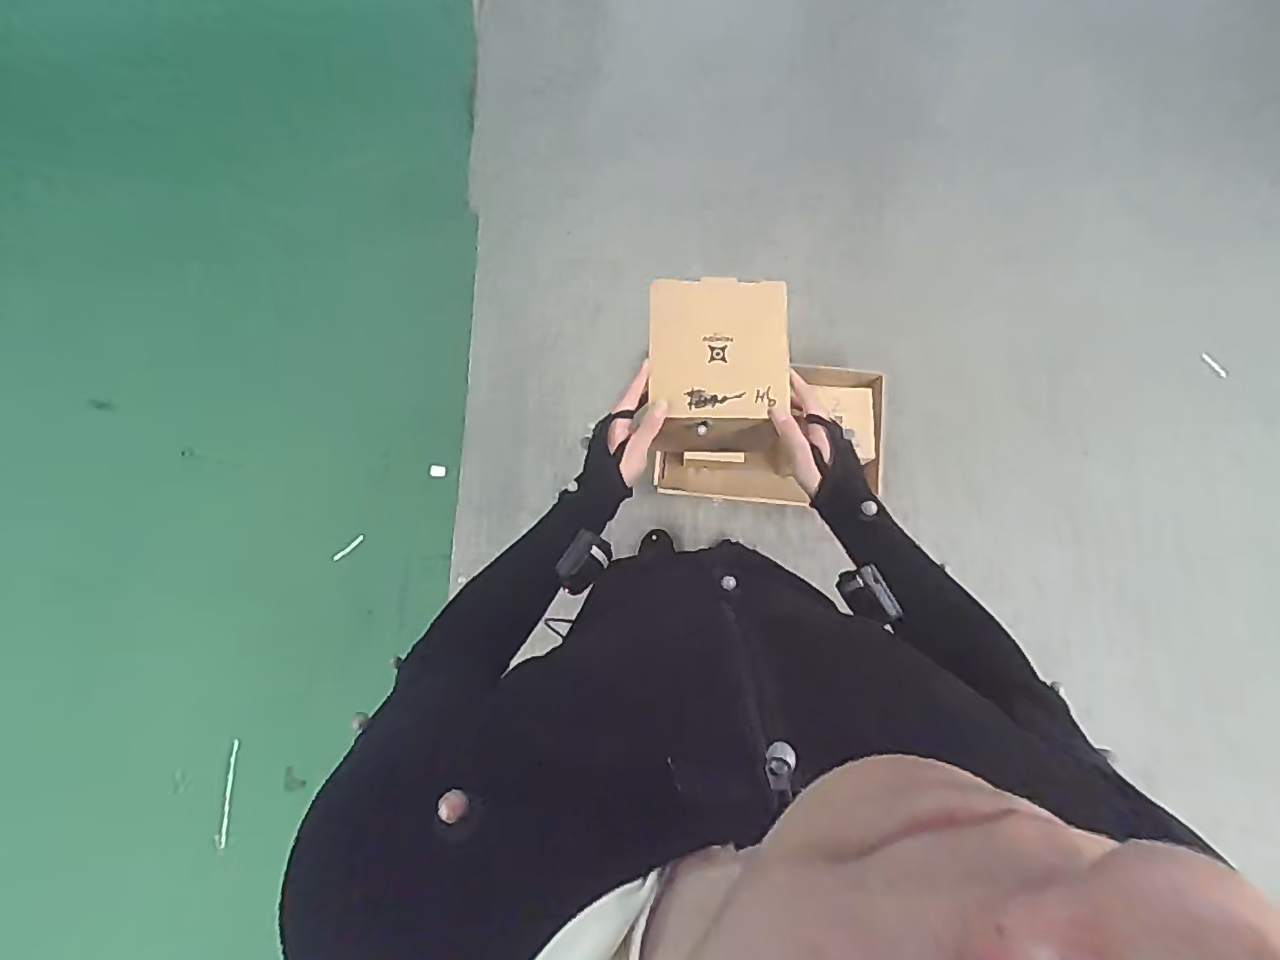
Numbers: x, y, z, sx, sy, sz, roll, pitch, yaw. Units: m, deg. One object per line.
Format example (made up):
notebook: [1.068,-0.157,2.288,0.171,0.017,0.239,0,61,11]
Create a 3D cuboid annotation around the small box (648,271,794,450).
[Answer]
small box: [0.094,-0.145,0.701,0.168,0.176,0.179,0,79,1]
